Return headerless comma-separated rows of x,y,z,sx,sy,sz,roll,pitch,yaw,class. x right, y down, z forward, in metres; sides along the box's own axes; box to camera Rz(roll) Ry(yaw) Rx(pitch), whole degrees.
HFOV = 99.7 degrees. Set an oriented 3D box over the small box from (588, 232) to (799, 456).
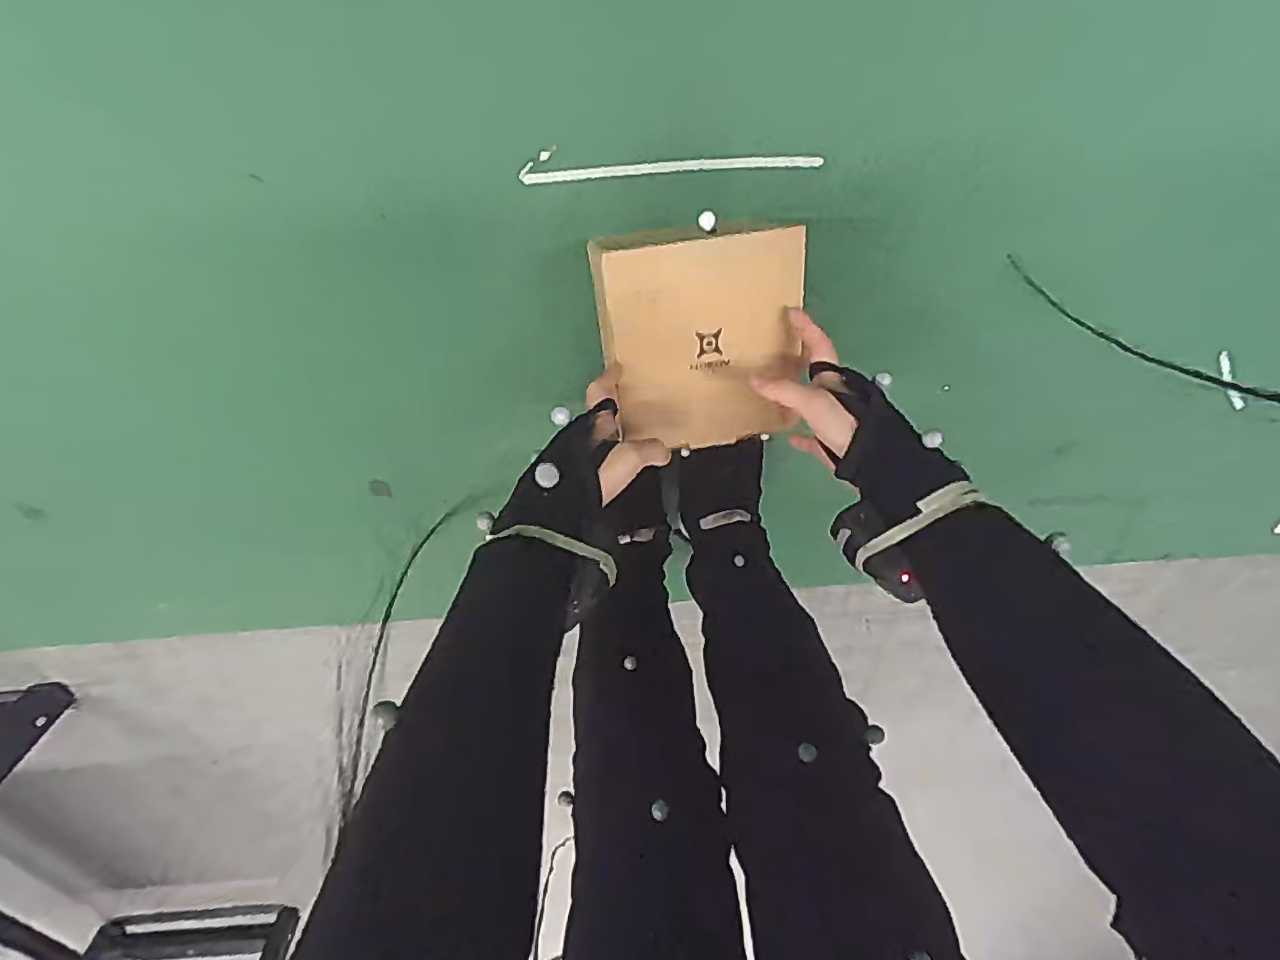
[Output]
0.044,-0.145,0.538,0.168,0.176,0.179,-9,118,-5,small box
